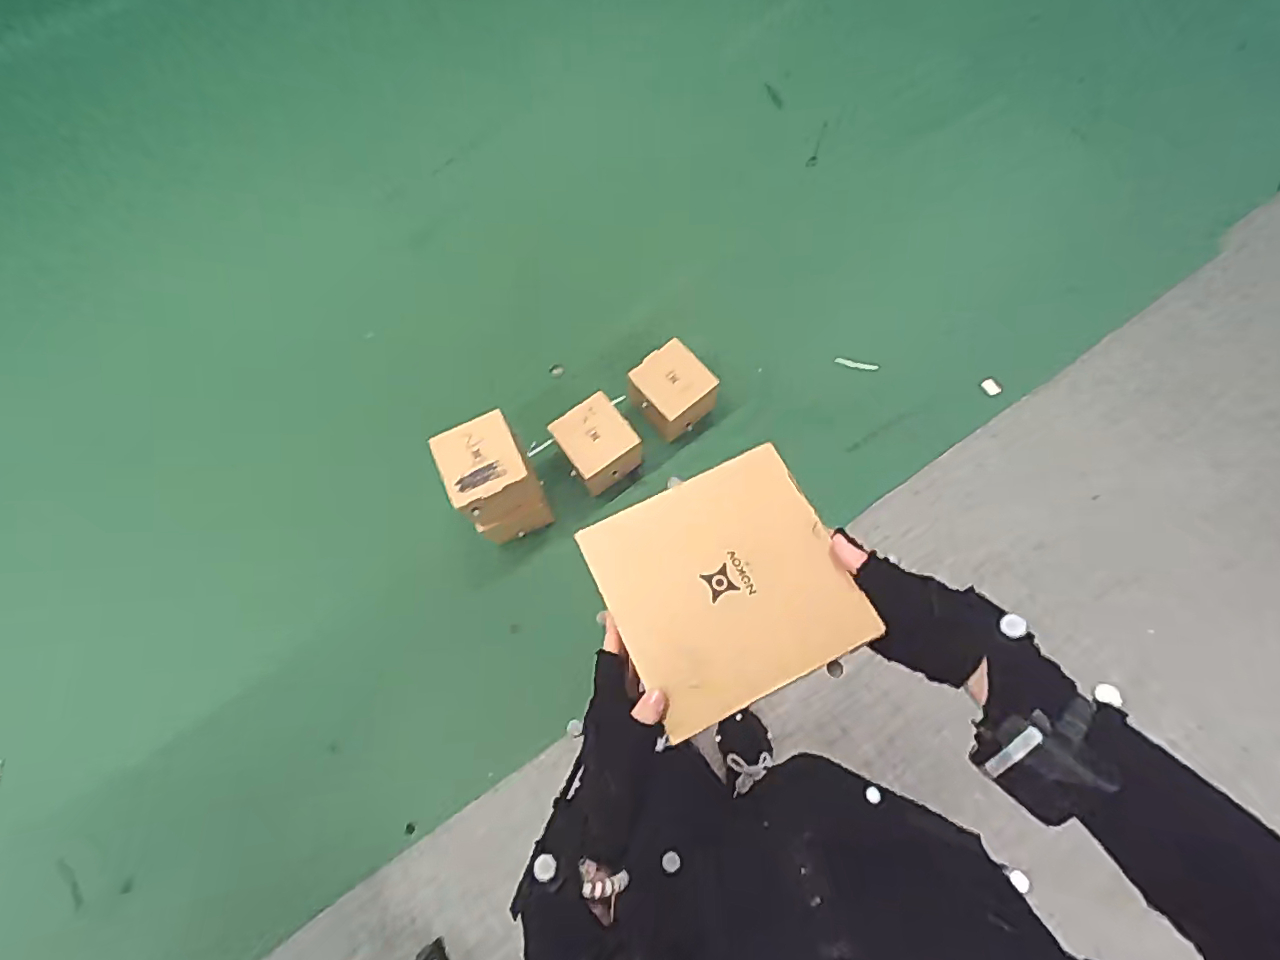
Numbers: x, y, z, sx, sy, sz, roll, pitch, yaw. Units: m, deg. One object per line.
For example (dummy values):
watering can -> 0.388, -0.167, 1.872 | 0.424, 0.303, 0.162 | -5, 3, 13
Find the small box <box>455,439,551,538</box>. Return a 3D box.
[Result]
small box -> -0.339, 0.027, 1.360 | 0.168, 0.176, 0.179 | -23, 75, -6

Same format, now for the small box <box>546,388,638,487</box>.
small box -> -0.116, -0.098, 1.398 | 0.168, 0.176, 0.179 | -35, 75, -11

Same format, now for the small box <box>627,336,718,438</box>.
small box -> 0.082, -0.242, 1.443 | 0.168, 0.176, 0.179 | -38, 76, -10

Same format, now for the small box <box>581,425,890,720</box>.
small box -> 0.067, 0.085, 0.466 | 0.179, 0.176, 0.168 | -24, 72, -8
